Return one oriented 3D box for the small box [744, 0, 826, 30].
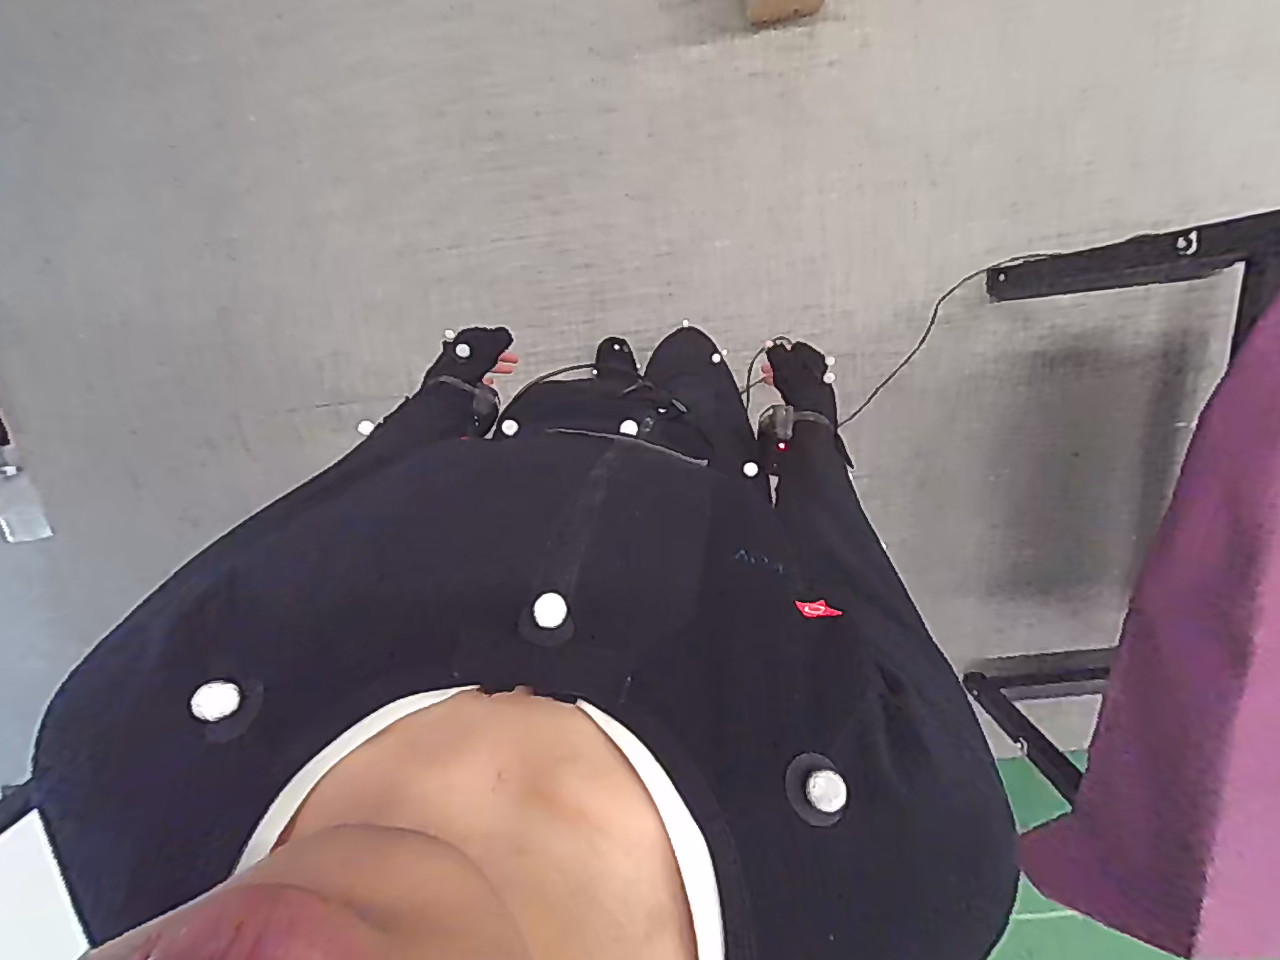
[{"bbox_3d":[0.305,-1.088,1.117,0.168,0.176,0.179,-7,103,3],"label":"small box"}]
